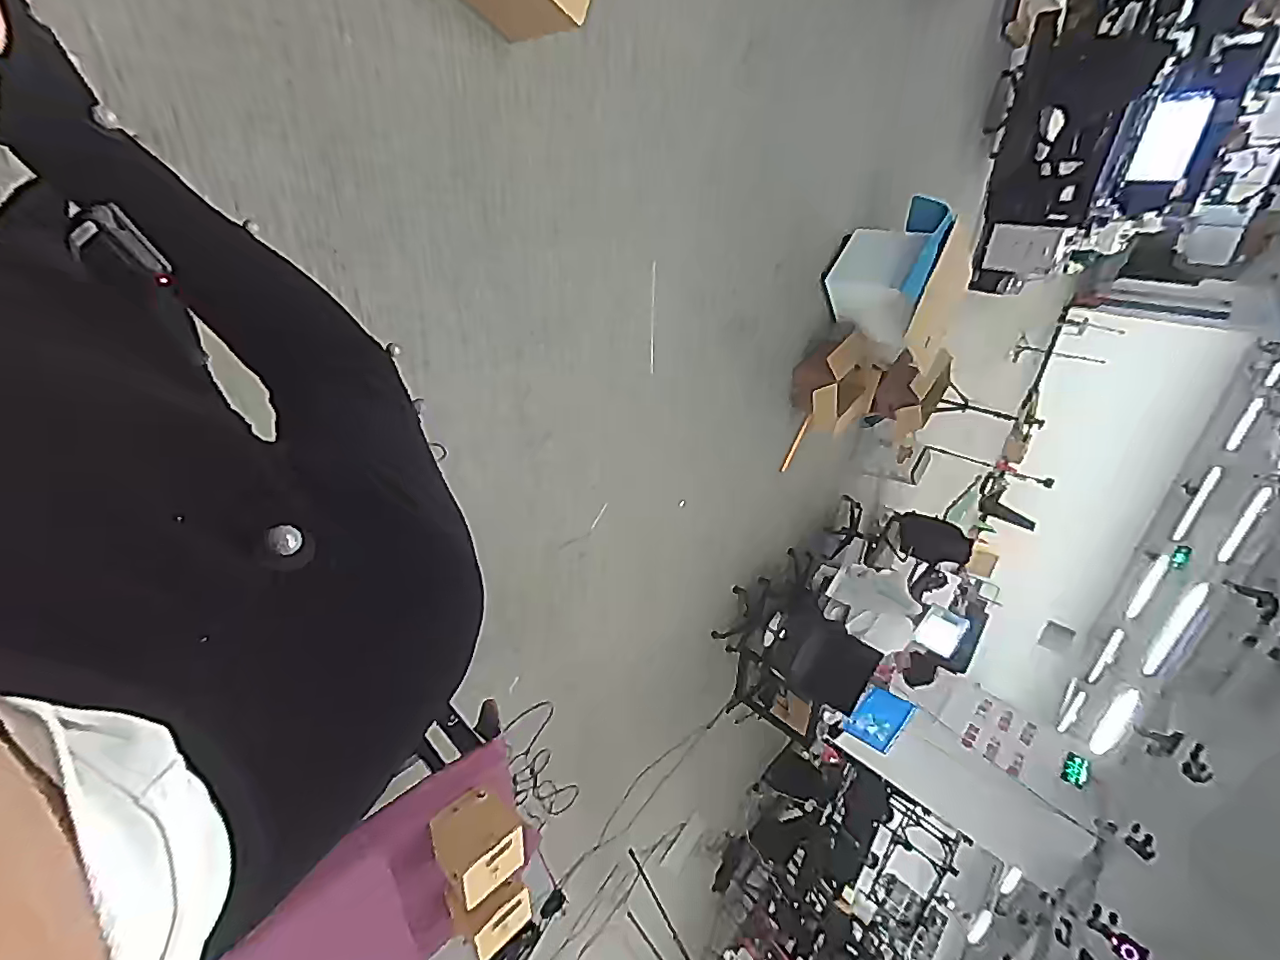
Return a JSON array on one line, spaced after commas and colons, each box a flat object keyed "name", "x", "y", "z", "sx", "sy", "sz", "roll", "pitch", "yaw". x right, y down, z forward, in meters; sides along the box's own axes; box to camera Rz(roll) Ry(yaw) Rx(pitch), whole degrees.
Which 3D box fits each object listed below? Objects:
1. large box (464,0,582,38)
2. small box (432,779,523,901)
[{"name": "large box", "x": -0.343, "y": -1.342, "z": 1.262, "sx": 0.408, "sy": 0.320, "sz": 0.320, "roll": 5, "pitch": 106, "yaw": -50}, {"name": "small box", "x": -0.422, "y": 0.919, "z": 1.401, "sx": 0.168, "sy": 0.176, "sz": 0.179, "roll": -22, "pitch": 129, "yaw": -40}]
